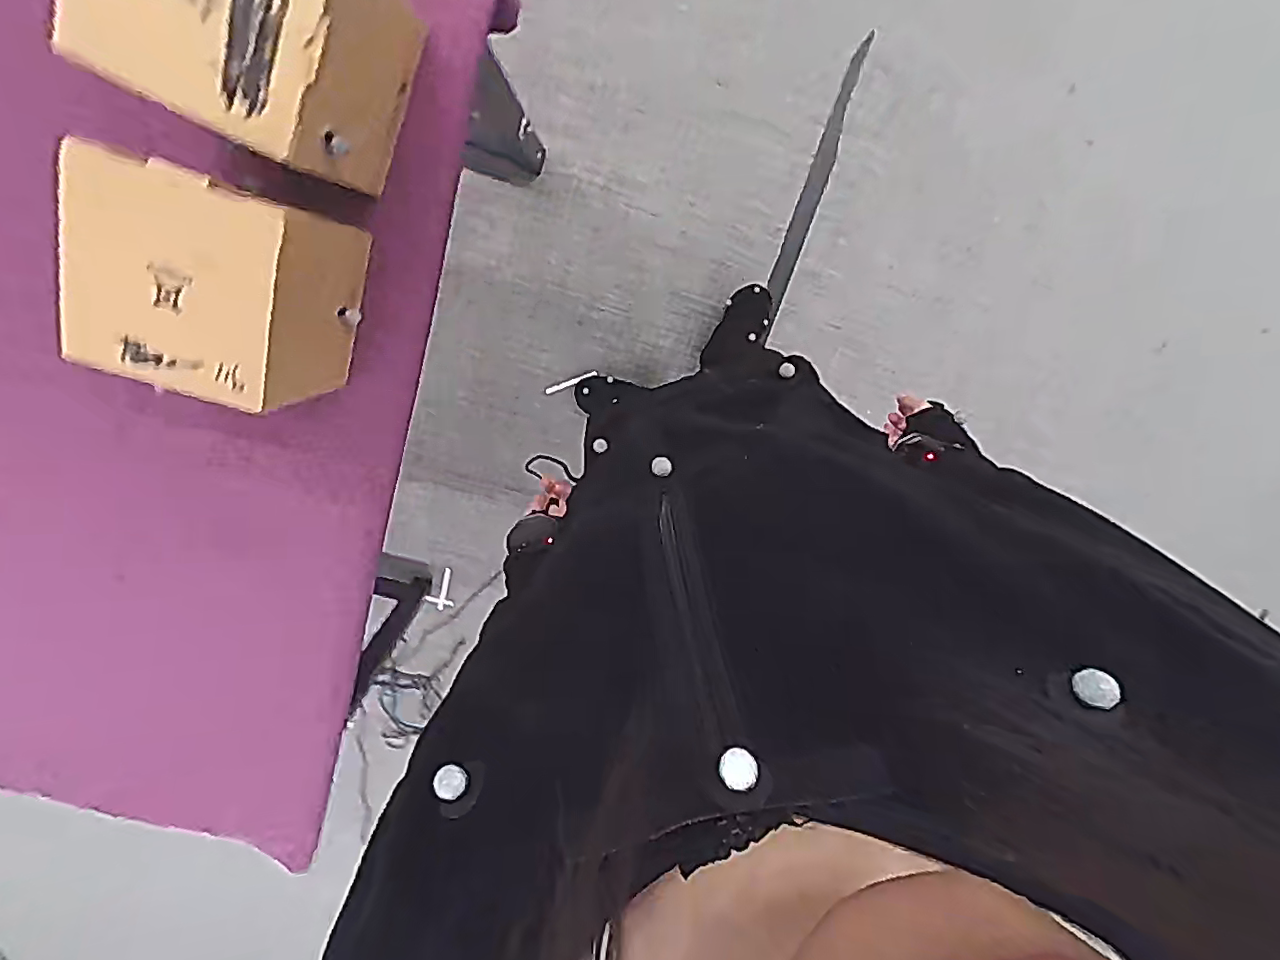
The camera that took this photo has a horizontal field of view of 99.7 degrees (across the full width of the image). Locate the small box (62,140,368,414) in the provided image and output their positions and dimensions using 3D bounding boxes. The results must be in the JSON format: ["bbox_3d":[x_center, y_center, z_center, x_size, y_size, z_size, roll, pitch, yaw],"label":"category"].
[{"bbox_3d":[-0.388,-0.184,0.523,0.168,0.176,0.179,16,107,-8],"label":"small box"}]
